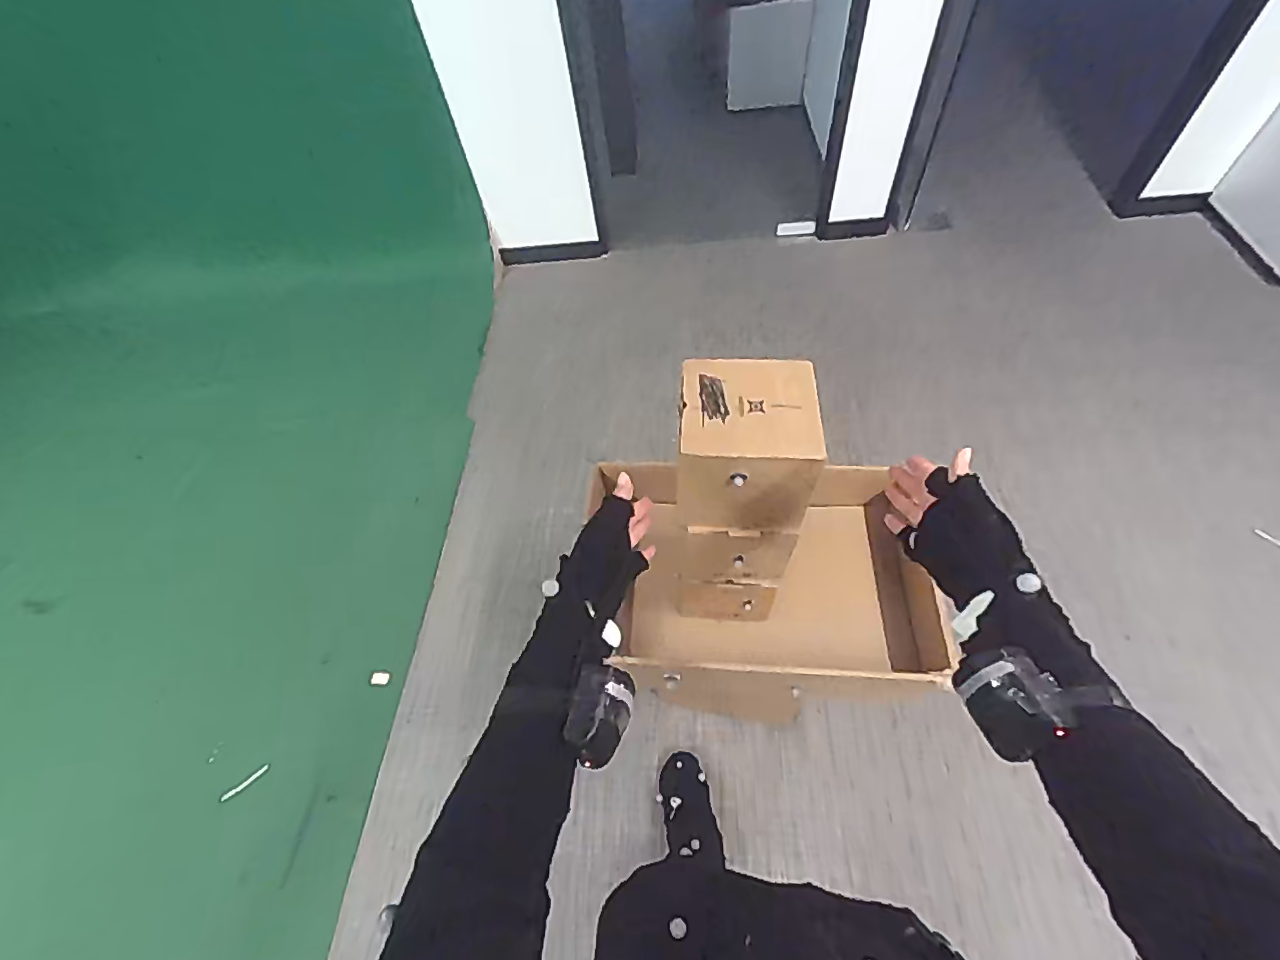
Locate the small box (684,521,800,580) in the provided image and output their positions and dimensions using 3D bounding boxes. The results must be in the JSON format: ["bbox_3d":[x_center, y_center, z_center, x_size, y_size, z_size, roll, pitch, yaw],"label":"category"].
[{"bbox_3d":[0.156,0.055,0.883,0.168,0.176,0.179,0,56,3],"label":"small box"}]

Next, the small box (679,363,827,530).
[{"bbox_3d":[0.145,-0.042,0.749,0.179,0.176,0.168,2,56,4],"label":"small box"}]

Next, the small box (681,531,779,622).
[{"bbox_3d":[0.163,0.154,1.013,0.168,0.176,0.179,2,54,5],"label":"small box"}]
